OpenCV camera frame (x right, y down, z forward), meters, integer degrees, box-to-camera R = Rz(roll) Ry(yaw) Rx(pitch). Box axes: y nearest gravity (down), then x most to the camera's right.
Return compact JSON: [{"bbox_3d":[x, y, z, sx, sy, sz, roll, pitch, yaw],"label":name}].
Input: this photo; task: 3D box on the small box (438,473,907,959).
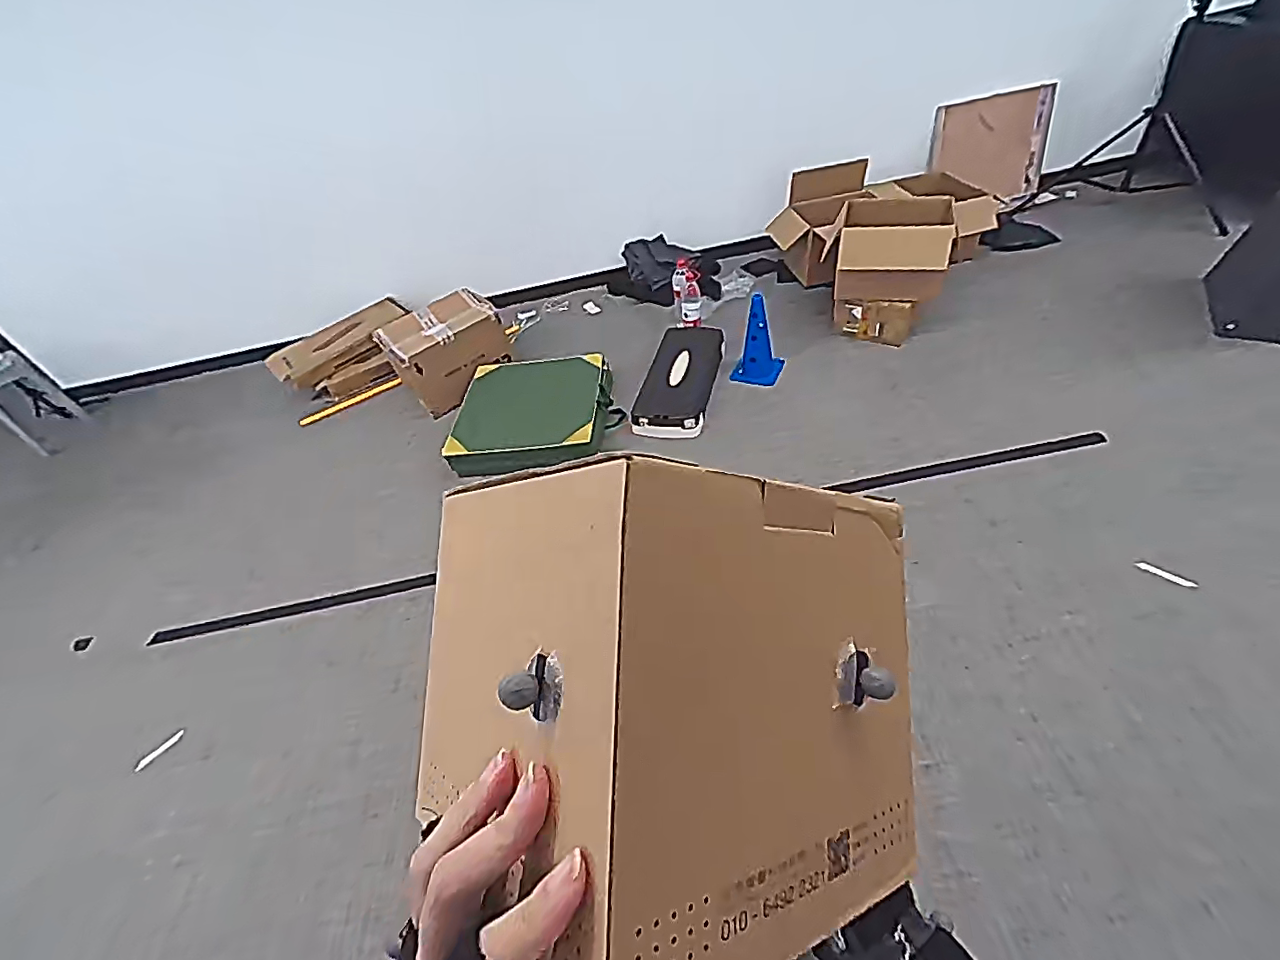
[{"bbox_3d":[0.011,0.095,0.269,0.179,0.168,0.176,-9,76,52],"label":"small box"}]
